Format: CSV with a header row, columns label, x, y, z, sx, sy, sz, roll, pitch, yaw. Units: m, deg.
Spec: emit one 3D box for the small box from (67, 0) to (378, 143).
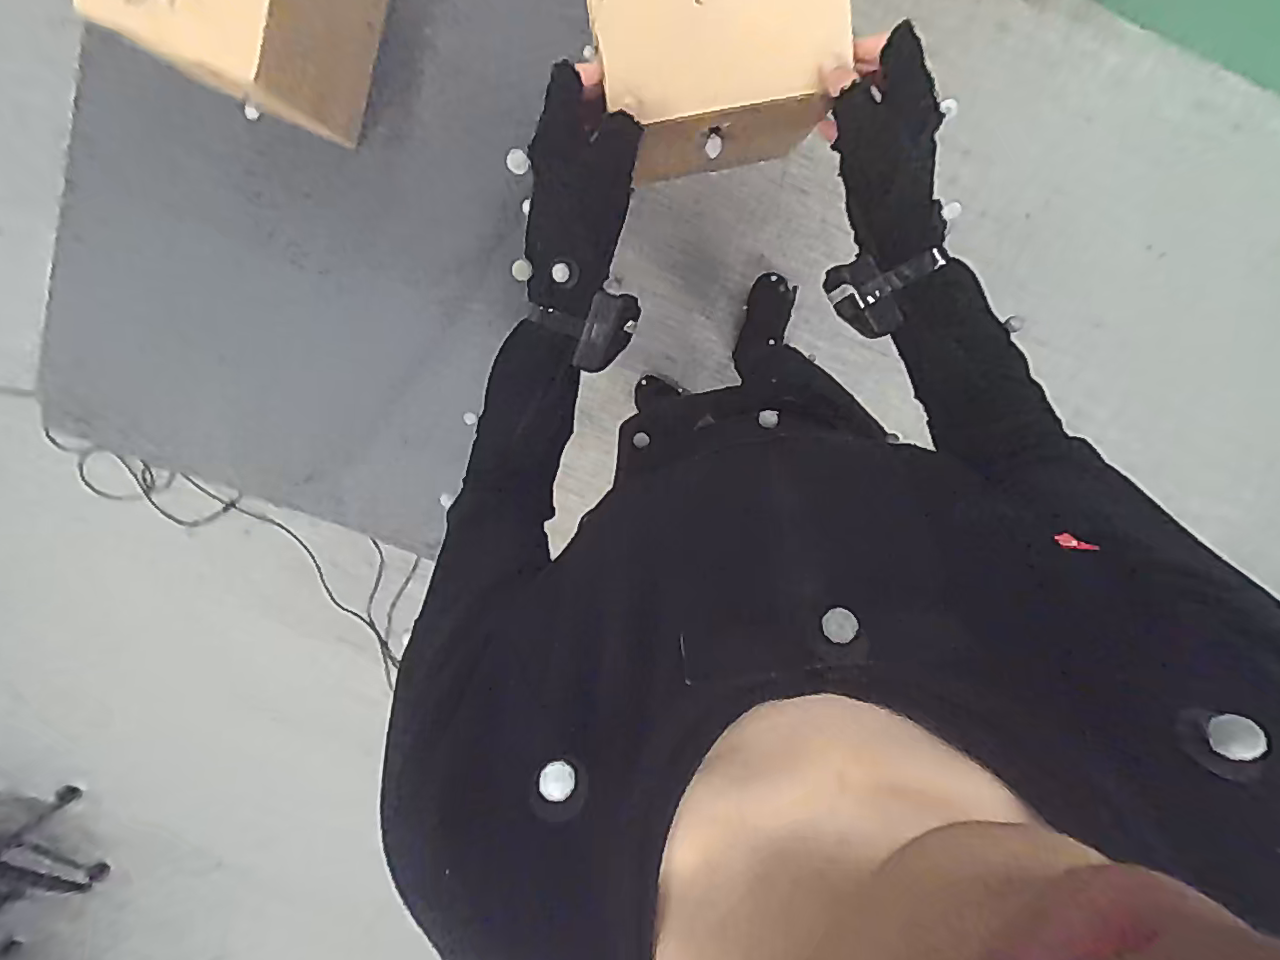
label,x,y,z,sx,sy,sz,roll,pitch,yaw
small box,-0.385,-0.474,0.528,0.168,0.176,0.179,21,106,-4
